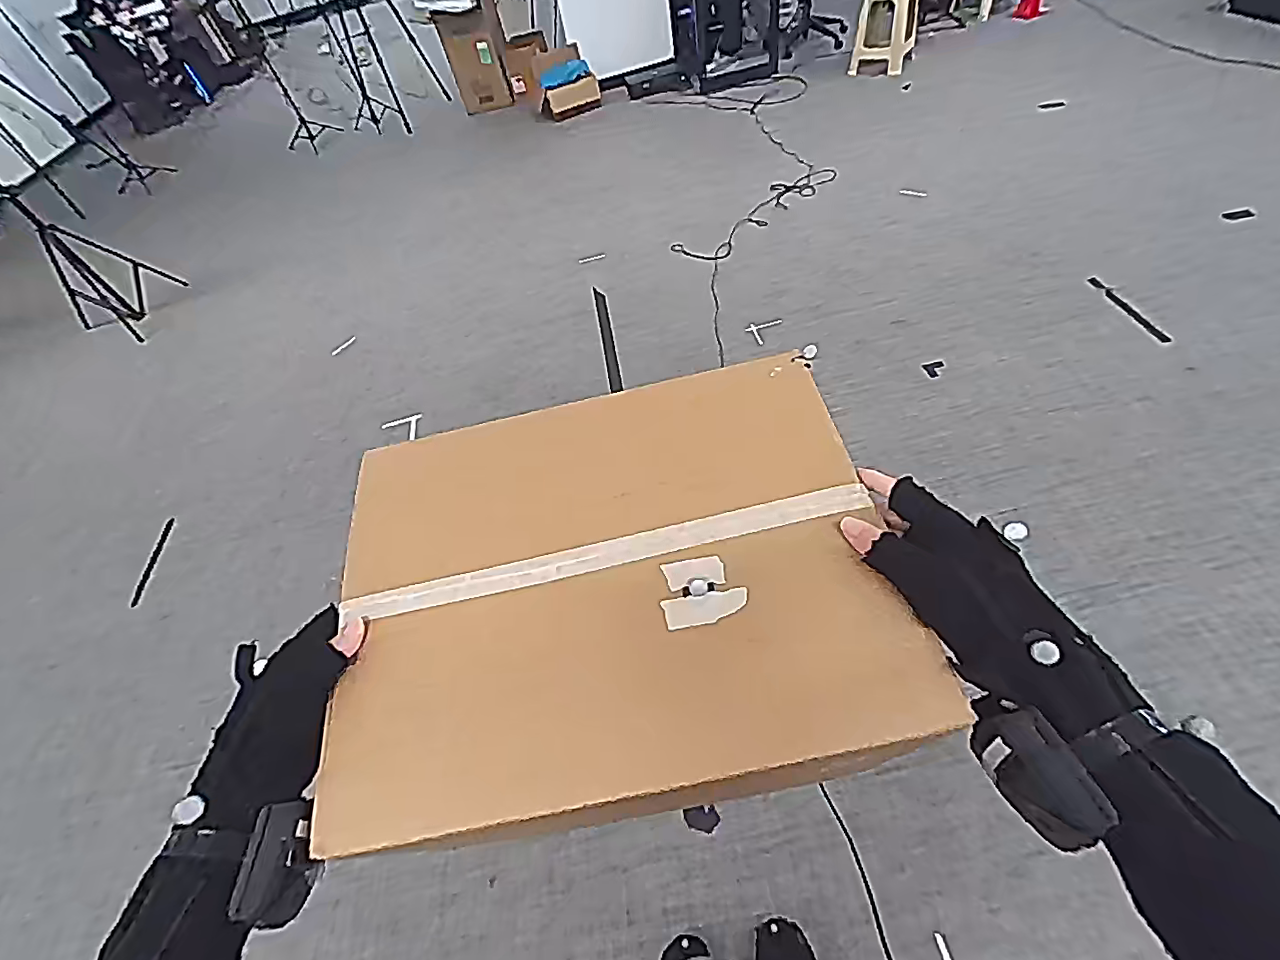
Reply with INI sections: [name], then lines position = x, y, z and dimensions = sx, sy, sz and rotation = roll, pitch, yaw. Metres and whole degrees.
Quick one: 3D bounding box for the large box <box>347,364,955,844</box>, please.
[large box]
position = -0.001, 0.141, 0.544
dimensions = 0.408, 0.320, 0.320
rotation = -13, 57, 1
